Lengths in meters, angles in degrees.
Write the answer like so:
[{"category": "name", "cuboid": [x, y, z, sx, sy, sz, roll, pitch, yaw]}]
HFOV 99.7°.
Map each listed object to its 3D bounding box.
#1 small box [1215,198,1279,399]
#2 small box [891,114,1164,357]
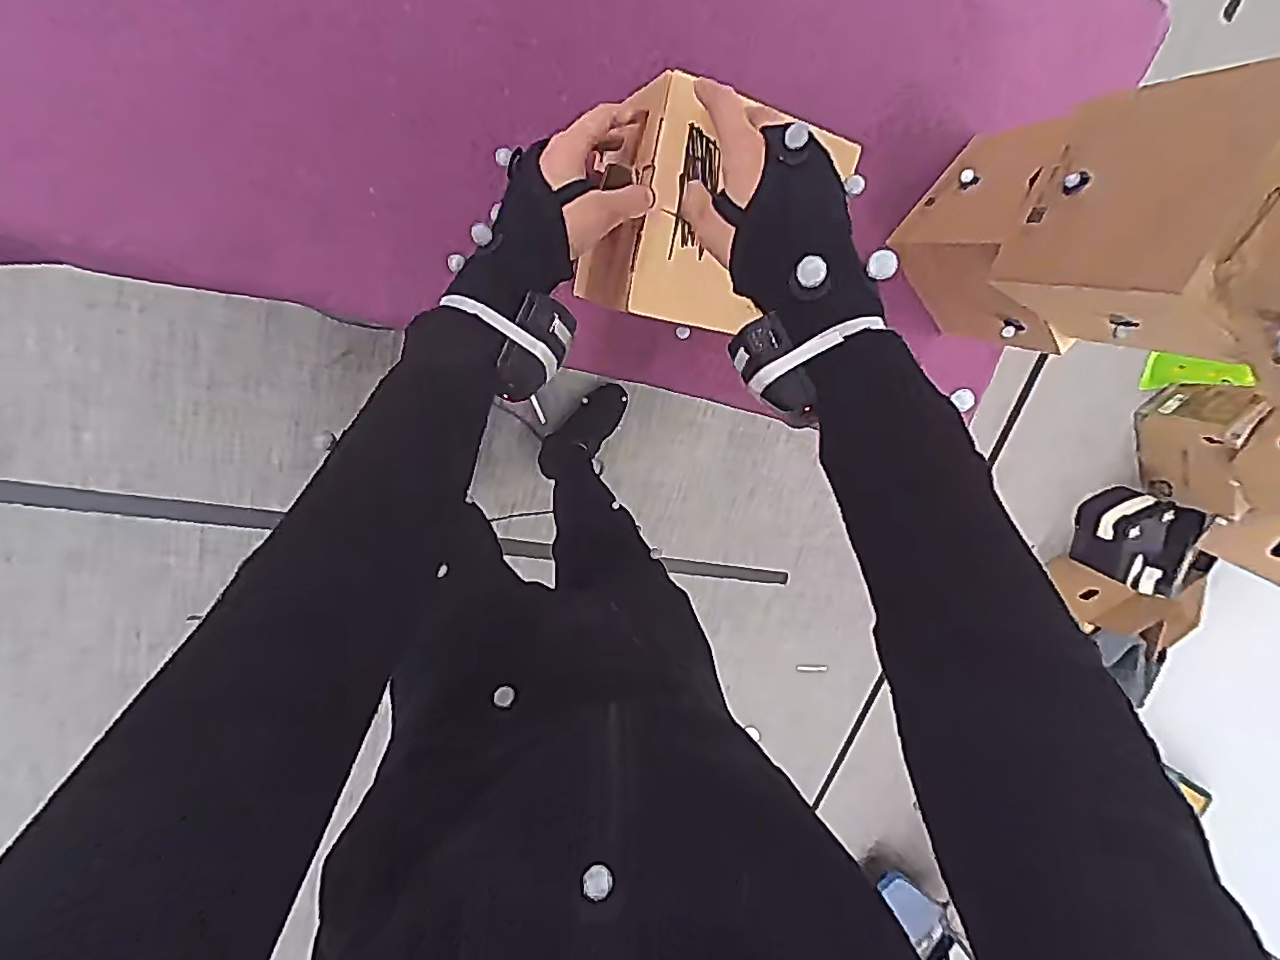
[{"category": "small box", "cuboid": [0.543, -0.145, 0.345, 0.168, 0.176, 0.179, 33, 99, -28]}, {"category": "small box", "cuboid": [0.438, -0.275, 0.628, 0.179, 0.176, 0.168, 38, 95, -30]}]
